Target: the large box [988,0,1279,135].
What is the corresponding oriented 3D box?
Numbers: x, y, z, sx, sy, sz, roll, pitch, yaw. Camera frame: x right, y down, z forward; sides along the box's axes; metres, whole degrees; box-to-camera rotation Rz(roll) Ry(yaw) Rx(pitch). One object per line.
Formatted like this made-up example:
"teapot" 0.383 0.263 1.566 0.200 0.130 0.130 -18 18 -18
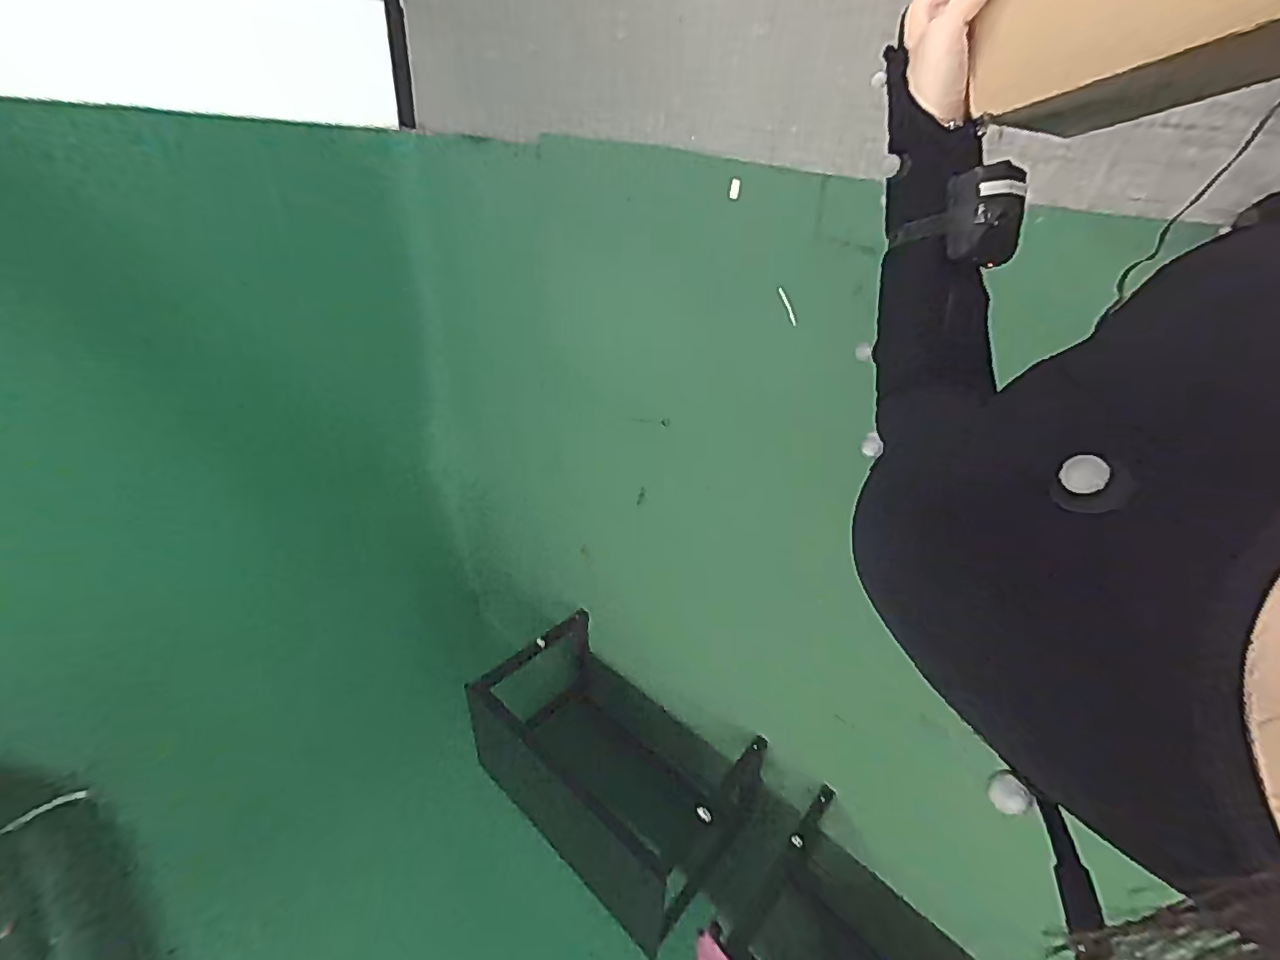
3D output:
"large box" 0.459 -0.449 0.303 0.408 0.320 0.320 5 115 46
